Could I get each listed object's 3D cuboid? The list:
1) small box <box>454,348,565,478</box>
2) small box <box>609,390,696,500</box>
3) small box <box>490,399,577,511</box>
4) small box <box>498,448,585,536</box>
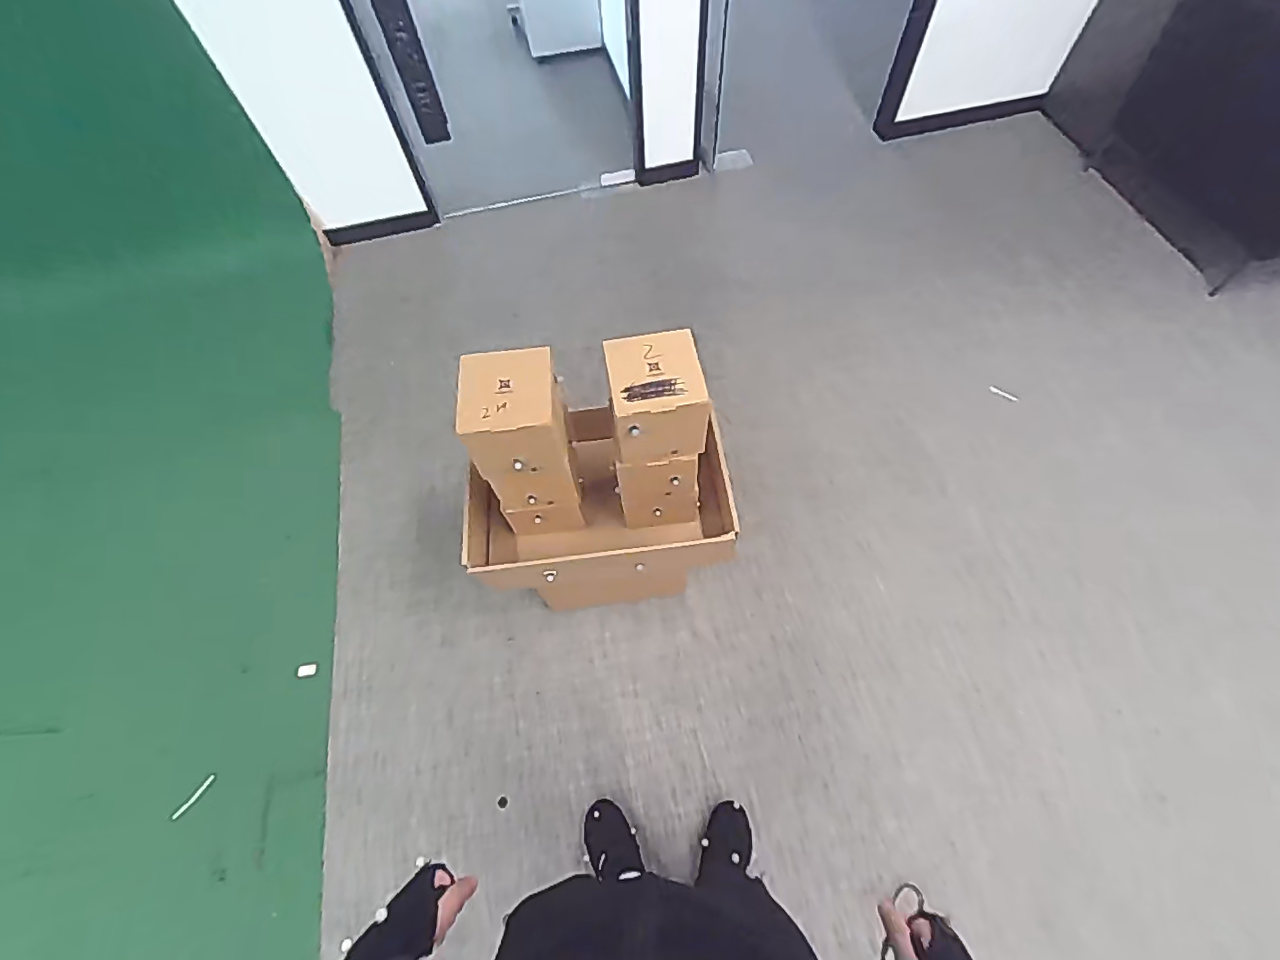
[{"bbox_3d":[-0.235,-0.122,1.015,0.168,0.176,0.179,-5,62,-1],"label":"small box"},{"bbox_3d":[0.027,-0.066,1.158,0.168,0.176,0.179,-6,61,-2],"label":"small box"},{"bbox_3d":[-0.228,-0.050,1.162,0.168,0.176,0.179,-6,62,-2],"label":"small box"},{"bbox_3d":[-0.232,0.027,1.307,0.179,0.176,0.168,-5,61,-1],"label":"small box"}]
